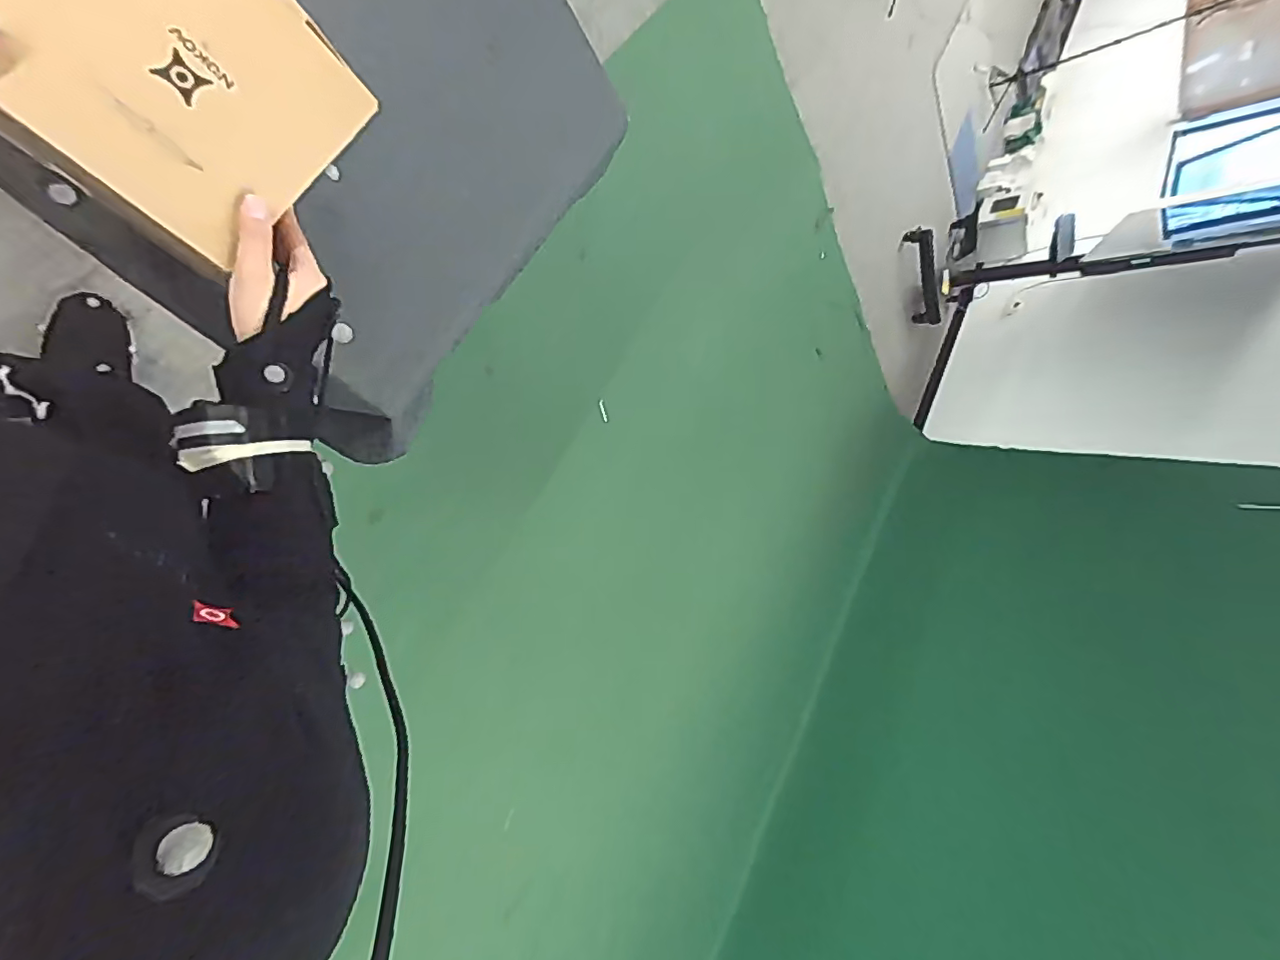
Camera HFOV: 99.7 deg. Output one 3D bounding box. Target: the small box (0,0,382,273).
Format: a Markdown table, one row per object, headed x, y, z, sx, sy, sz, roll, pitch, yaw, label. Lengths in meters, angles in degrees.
| x | y | z | sx | sy | sz | roll | pitch | yaw | label |
| --- | --- | --- | --- | --- | --- | --- | --- | --- | --- |
| -0.337 | -0.277 | 0.397 | 0.168 | 0.176 | 0.179 | 42 | 75 | -44 | small box |
